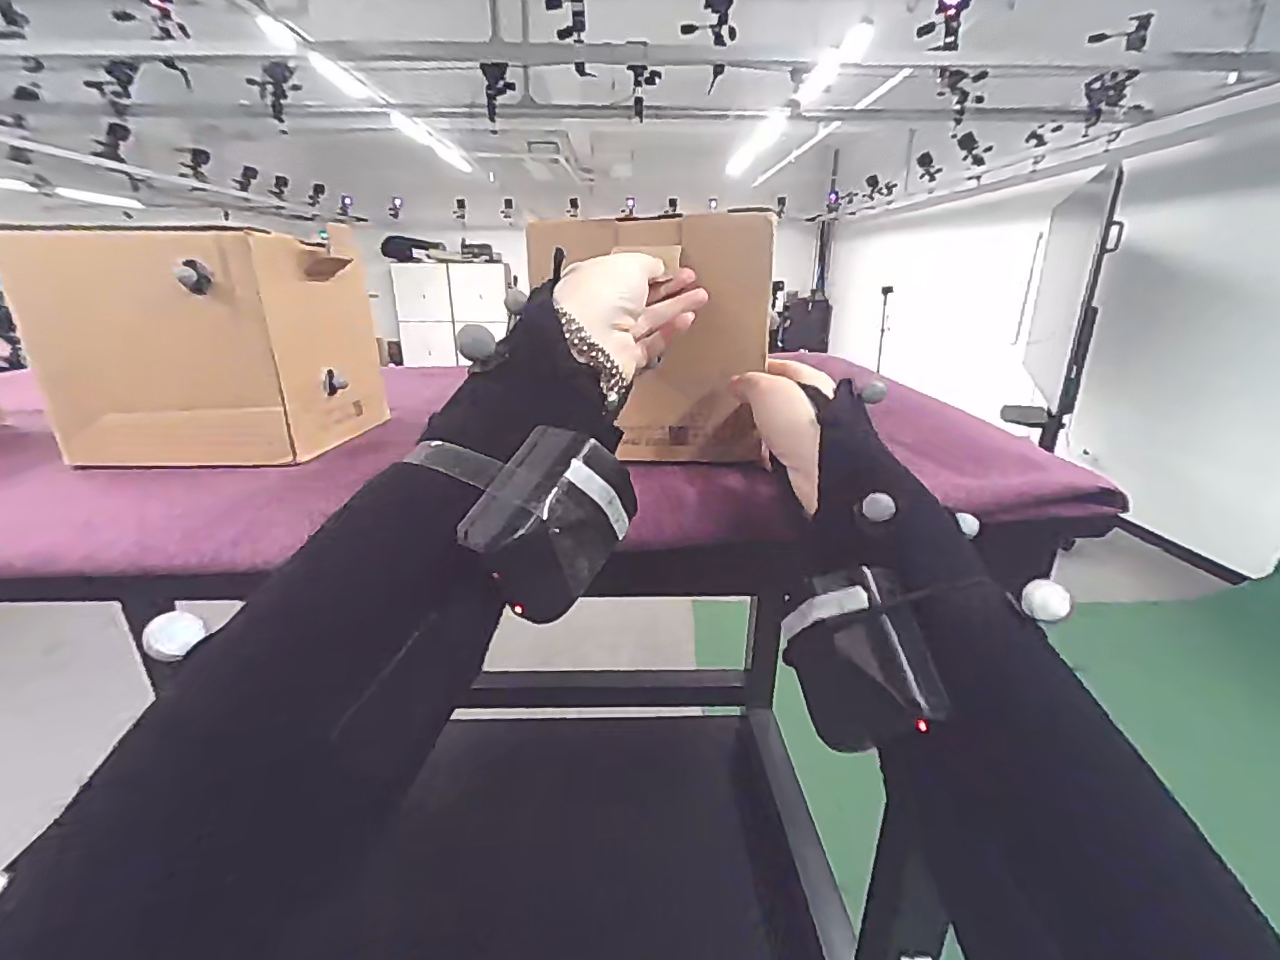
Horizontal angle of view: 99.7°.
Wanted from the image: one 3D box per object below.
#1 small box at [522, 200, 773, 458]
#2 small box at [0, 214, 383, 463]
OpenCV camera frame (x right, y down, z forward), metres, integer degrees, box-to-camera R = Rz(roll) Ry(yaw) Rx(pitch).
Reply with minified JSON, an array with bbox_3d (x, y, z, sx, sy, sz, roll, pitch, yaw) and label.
[{"bbox_3d":[0.016,-0.118,0.444,0.168,0.176,0.179,1,18,7],"label":"small box"},{"bbox_3d":[-0.342,-0.113,0.449,0.179,0.176,0.168,0,18,-1],"label":"small box"}]
